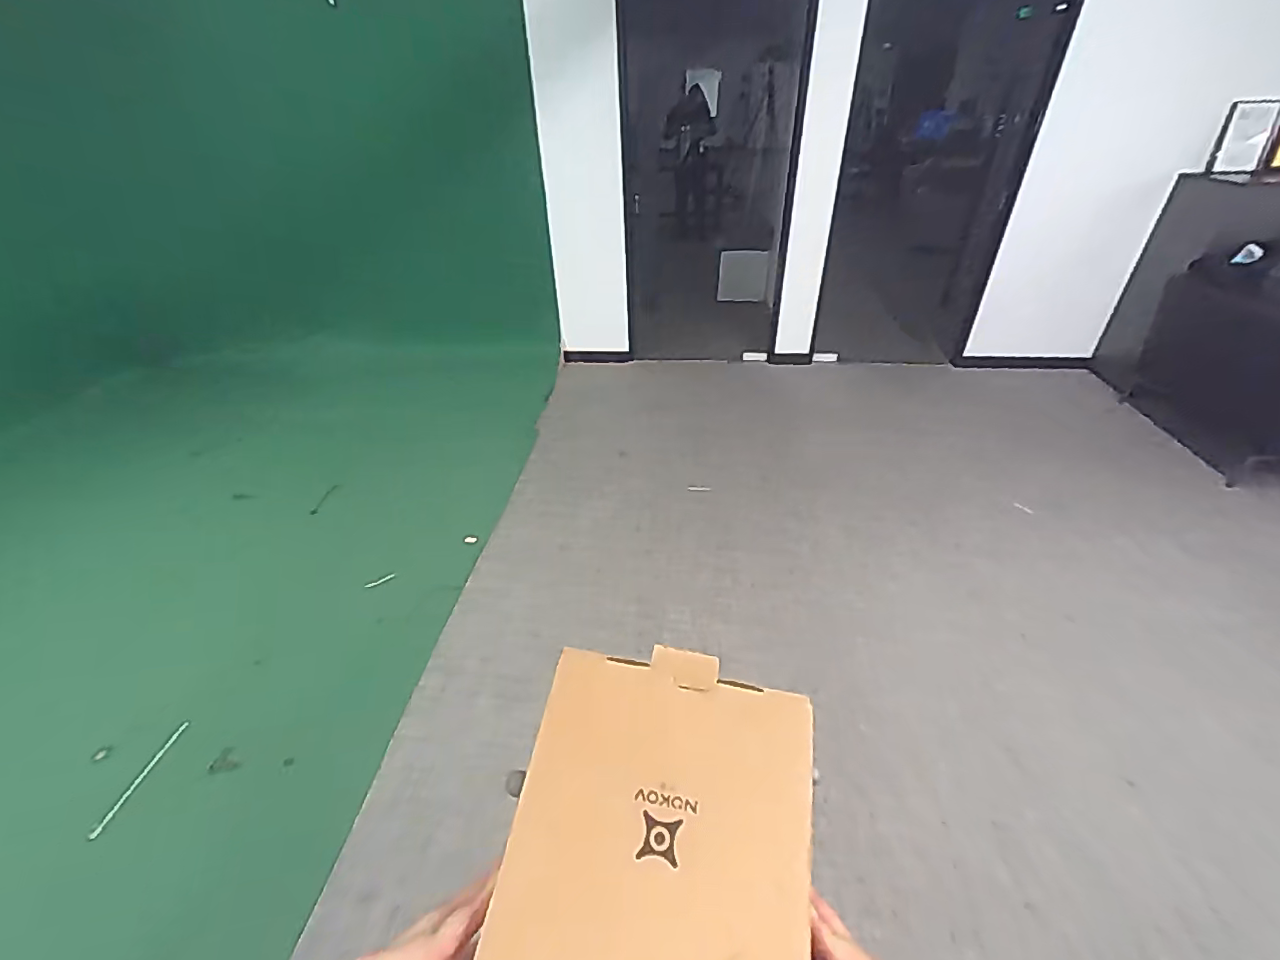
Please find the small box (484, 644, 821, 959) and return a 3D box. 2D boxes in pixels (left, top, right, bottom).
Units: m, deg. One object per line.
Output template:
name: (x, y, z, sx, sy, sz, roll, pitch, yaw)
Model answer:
small box: (0.016, 0.237, 0.366, 0.168, 0.176, 0.179, 10, 54, 5)
